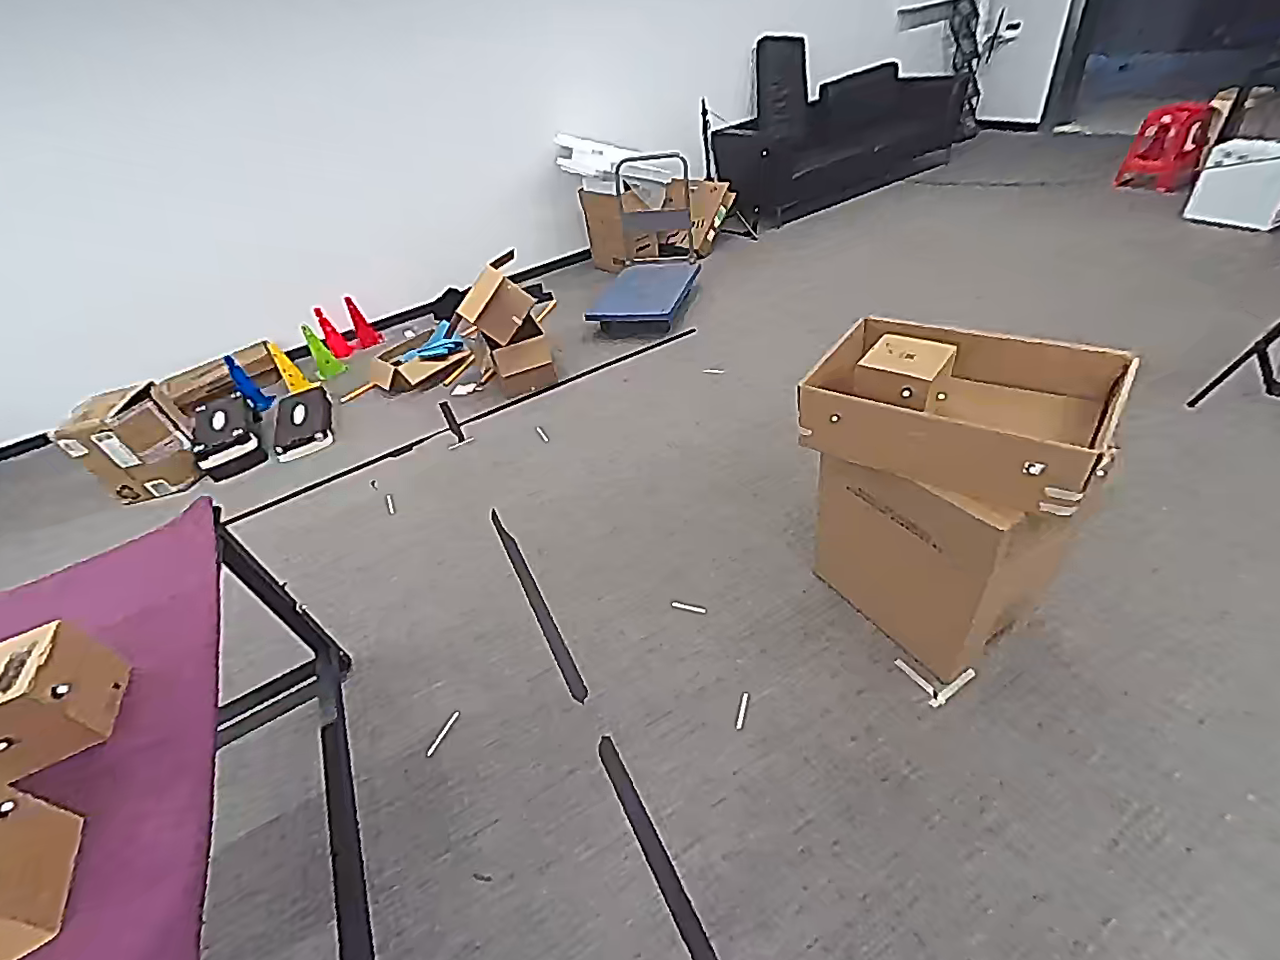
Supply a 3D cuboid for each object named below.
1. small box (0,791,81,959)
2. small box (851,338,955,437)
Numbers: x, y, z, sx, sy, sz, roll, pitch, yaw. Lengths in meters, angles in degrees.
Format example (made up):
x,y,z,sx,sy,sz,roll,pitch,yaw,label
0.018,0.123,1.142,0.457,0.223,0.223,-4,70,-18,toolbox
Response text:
x,y,z,sx,sy,sz,roll,pitch,yaw,label
-0.909,0.552,0.715,0.168,0.176,0.179,-28,42,-19,small box
0.651,-0.229,1.352,0.179,0.176,0.168,24,52,36,small box
